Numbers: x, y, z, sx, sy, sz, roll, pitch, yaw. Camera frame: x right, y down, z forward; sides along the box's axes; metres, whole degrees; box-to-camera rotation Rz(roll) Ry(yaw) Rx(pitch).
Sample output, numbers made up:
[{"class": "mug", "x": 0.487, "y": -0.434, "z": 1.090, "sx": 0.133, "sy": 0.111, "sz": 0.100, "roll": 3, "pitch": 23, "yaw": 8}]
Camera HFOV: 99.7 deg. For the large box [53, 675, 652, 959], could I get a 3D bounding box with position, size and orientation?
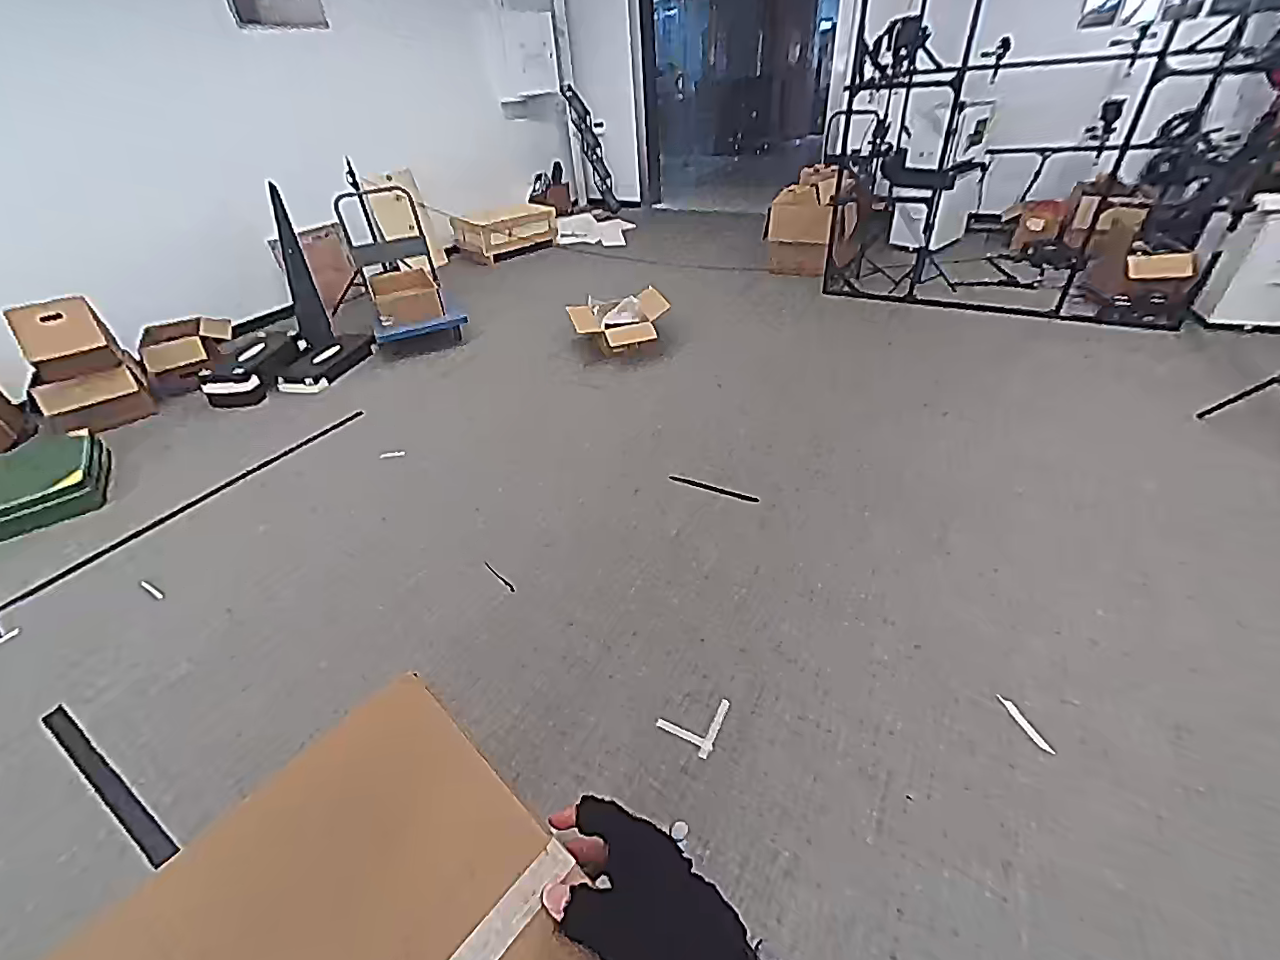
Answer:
[{"class": "large box", "x": -0.230, "y": 0.420, "z": 0.377, "sx": 0.320, "sy": 0.320, "sz": 0.408, "roll": 46, "pitch": 58, "yaw": 9}]
